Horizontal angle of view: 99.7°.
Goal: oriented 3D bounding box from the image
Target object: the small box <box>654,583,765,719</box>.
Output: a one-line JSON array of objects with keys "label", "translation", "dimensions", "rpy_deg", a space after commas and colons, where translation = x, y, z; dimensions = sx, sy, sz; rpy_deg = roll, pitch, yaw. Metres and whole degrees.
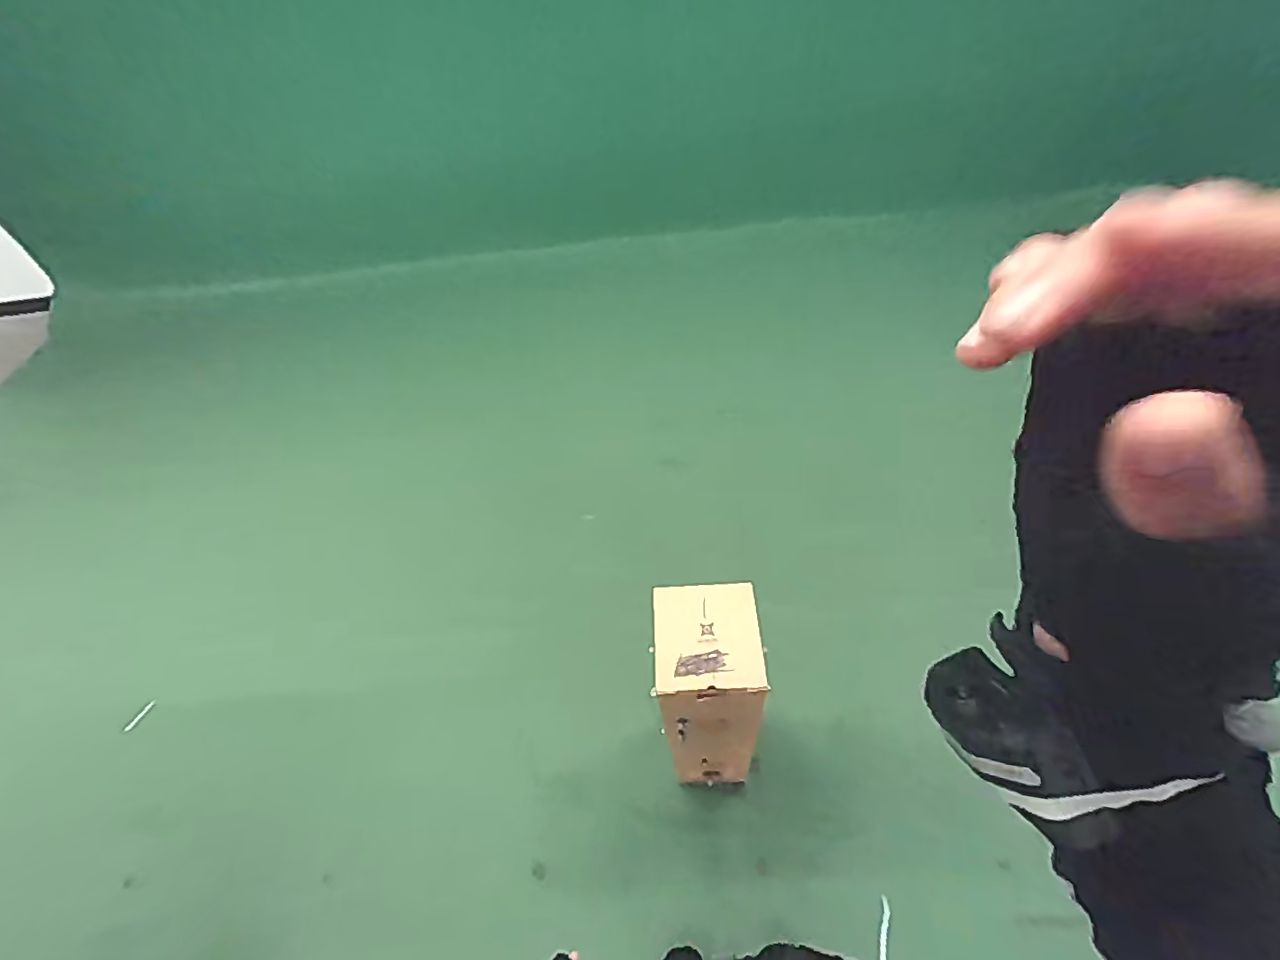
[{"label": "small box", "translation": [0.112, 0.293, 0.910], "dimensions": [0.168, 0.176, 0.179], "rpy_deg": [-4, 50, 4]}]

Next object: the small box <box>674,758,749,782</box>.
[{"label": "small box", "translation": [0.164, 0.603, 1.288], "dimensions": [0.168, 0.176, 0.179], "rpy_deg": [-3, 50, 5]}]

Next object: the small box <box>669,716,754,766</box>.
[{"label": "small box", "translation": [0.146, 0.500, 1.163], "dimensions": [0.168, 0.176, 0.179], "rpy_deg": [-4, 51, 4]}]
